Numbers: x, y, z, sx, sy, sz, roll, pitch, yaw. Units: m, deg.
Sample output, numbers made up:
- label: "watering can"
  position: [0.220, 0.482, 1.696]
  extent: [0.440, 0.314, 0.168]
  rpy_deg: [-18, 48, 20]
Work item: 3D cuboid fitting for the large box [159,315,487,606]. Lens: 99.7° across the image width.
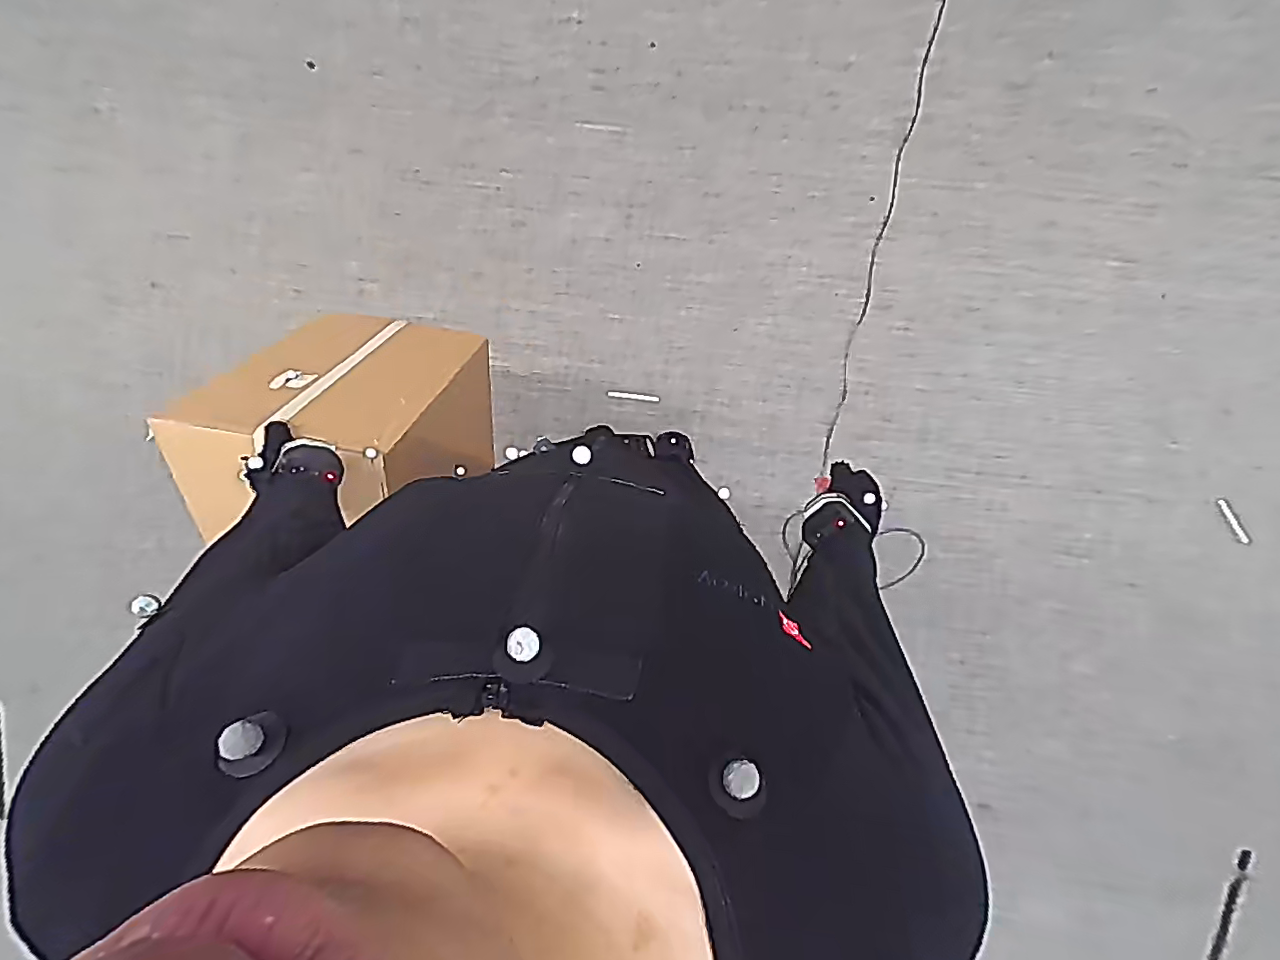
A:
- label: "large box"
  position: [-0.483, -0.050, 0.954]
  extent: [0.320, 0.408, 0.320]
  rpy_deg: [9, 128, 2]
